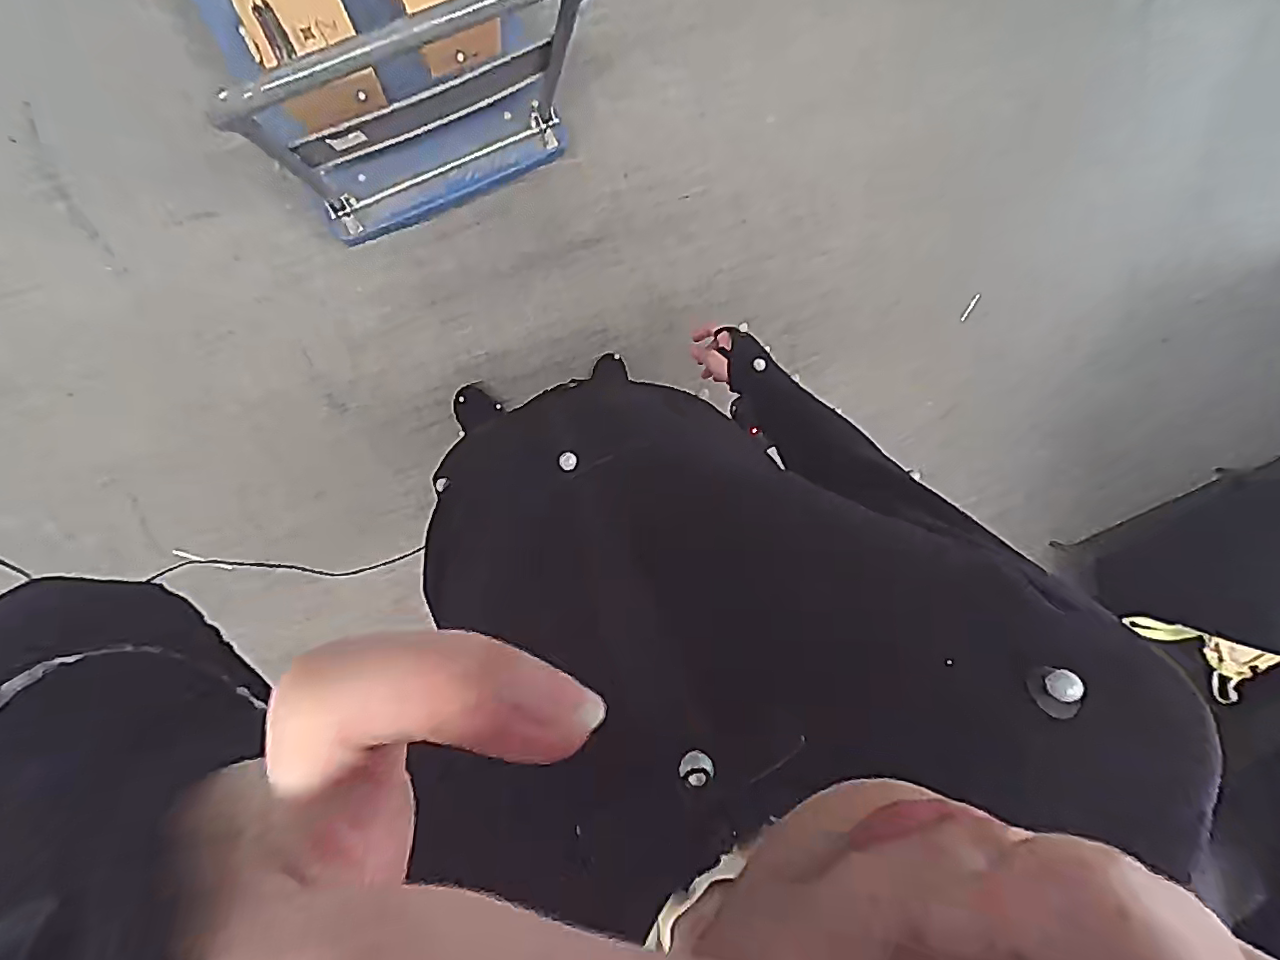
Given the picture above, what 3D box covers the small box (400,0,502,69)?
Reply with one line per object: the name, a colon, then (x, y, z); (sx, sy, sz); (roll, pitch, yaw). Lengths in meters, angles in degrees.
small box: (-0.385, -0.964, 1.061); (0.168, 0.176, 0.179); (-26, 109, -6)
